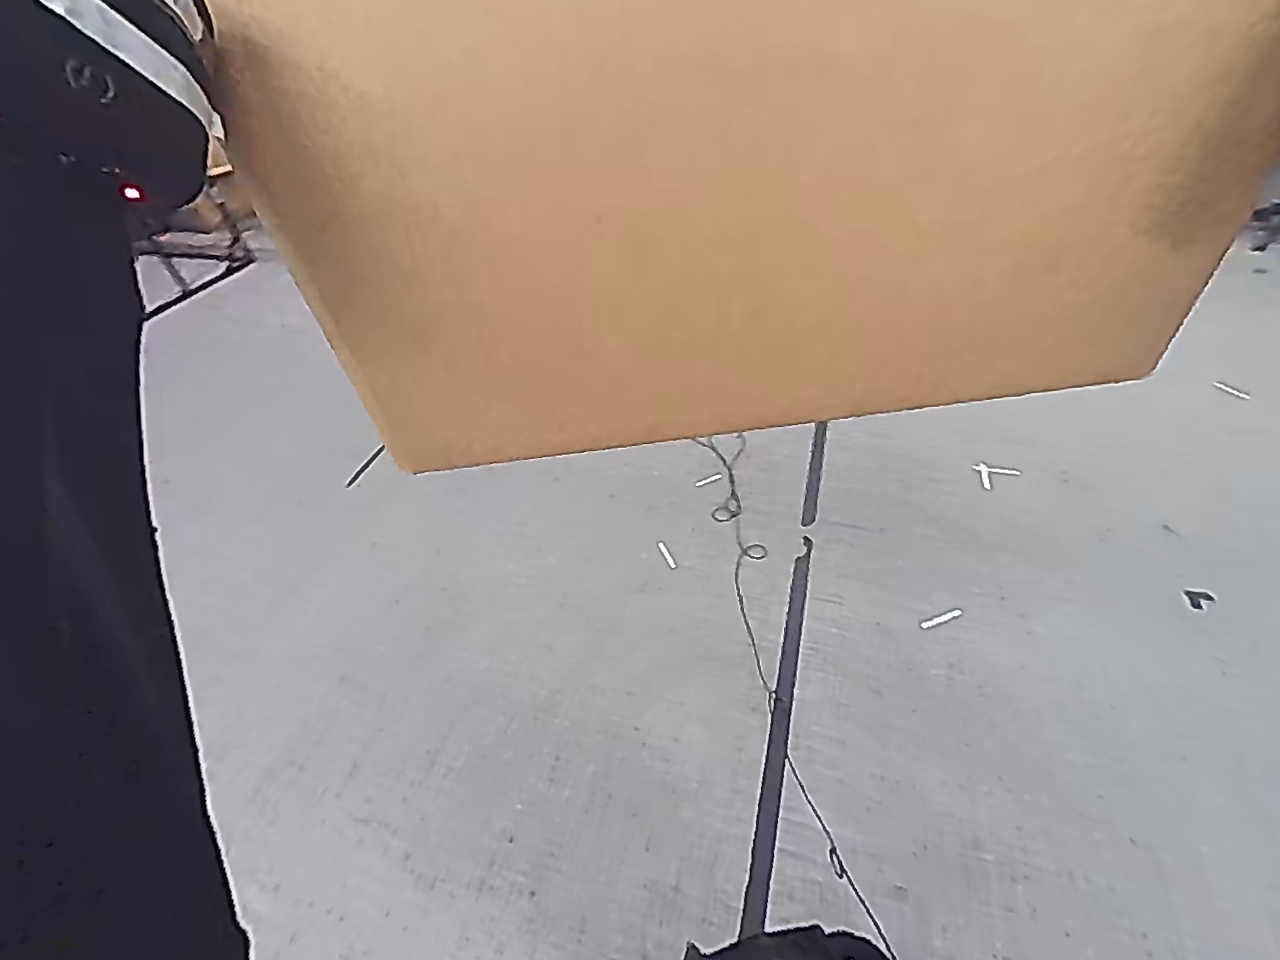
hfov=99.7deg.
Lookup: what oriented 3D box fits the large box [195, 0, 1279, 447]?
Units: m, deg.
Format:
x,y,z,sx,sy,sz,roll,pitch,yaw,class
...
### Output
x,y,z,sx,sy,sz,roll,pitch,yaw,class
0.044,-0.247,0.303,0.408,0.320,0.320,-7,43,0,large box
